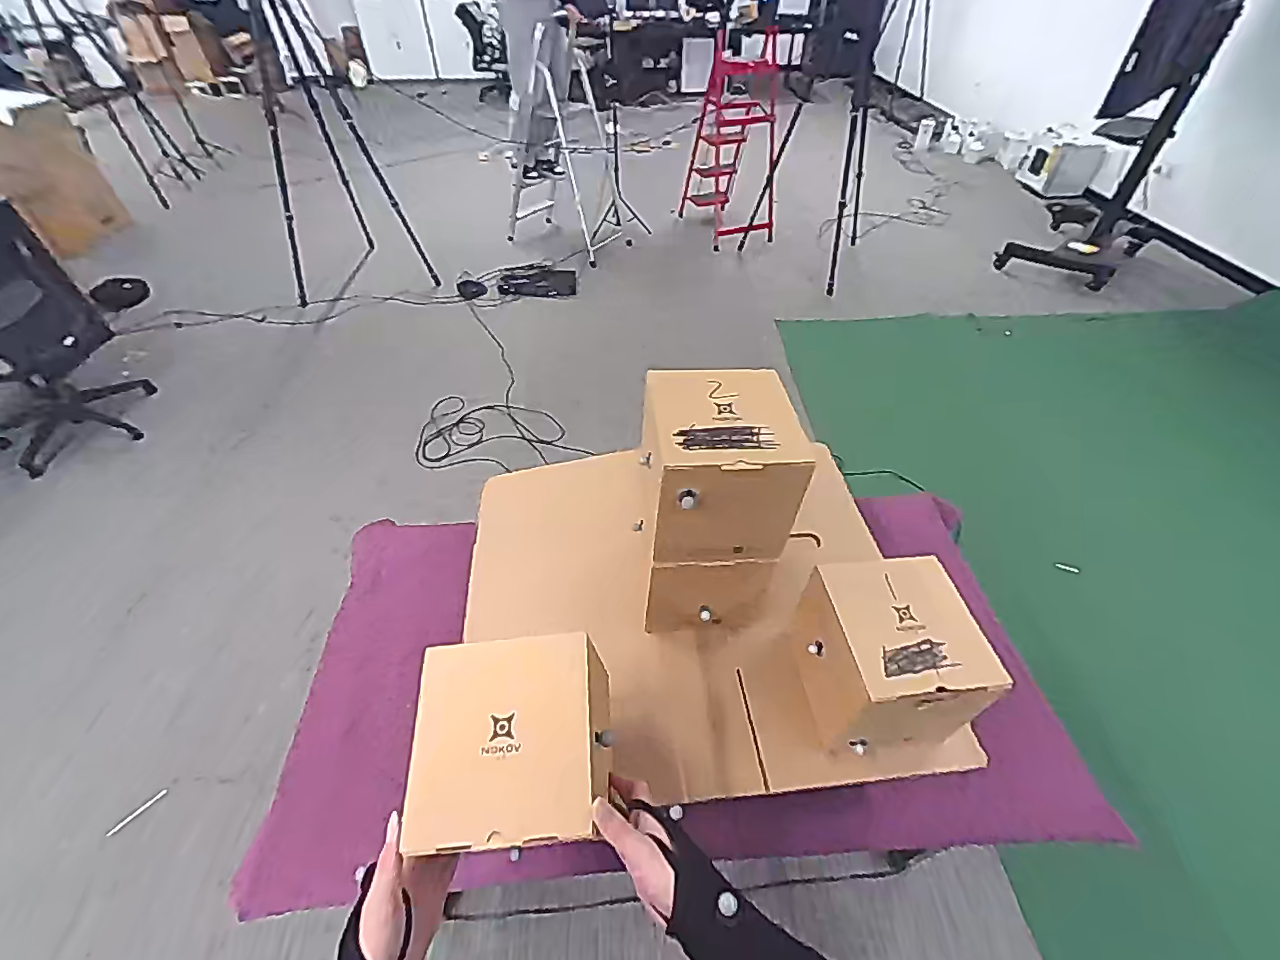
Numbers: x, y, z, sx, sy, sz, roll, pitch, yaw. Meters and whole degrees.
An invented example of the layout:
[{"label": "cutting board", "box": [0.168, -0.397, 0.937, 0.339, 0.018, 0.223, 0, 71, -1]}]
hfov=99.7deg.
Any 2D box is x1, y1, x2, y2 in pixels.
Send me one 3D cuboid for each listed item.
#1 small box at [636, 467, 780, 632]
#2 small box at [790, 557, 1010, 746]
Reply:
[{"label": "small box", "box": [0.085, 0.101, 0.788, 0.168, 0.176, 0.179, -2, 46, -6]}, {"label": "small box", "box": [0.308, 0.222, 0.687, 0.168, 0.176, 0.179, -3, 46, -6]}]
